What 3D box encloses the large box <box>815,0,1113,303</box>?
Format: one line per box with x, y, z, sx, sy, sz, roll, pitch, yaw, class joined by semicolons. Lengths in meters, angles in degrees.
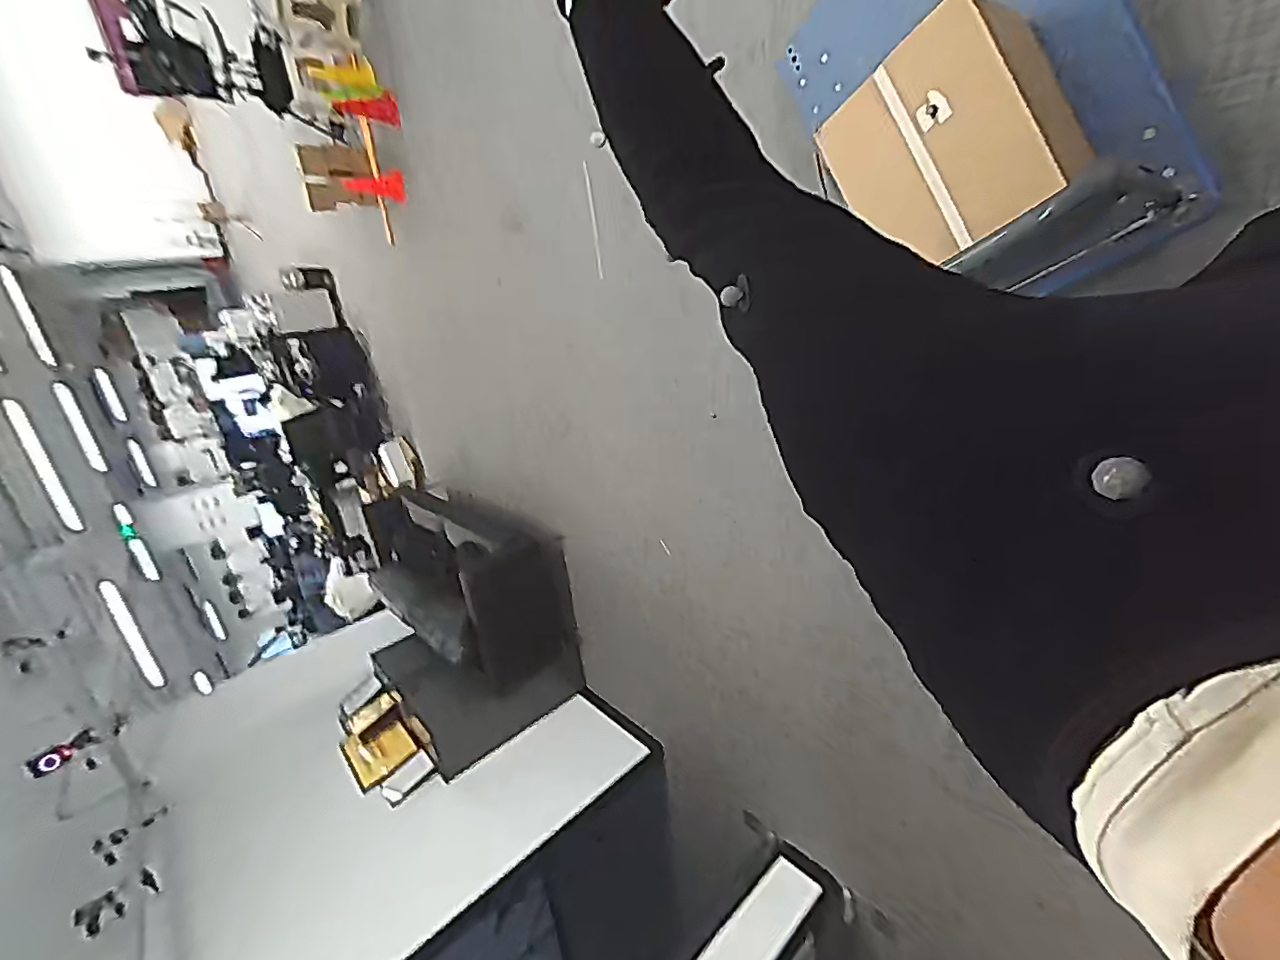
0.633;-0.621;1.071;0.320;0.320;0.408;-28;85;53;large box
